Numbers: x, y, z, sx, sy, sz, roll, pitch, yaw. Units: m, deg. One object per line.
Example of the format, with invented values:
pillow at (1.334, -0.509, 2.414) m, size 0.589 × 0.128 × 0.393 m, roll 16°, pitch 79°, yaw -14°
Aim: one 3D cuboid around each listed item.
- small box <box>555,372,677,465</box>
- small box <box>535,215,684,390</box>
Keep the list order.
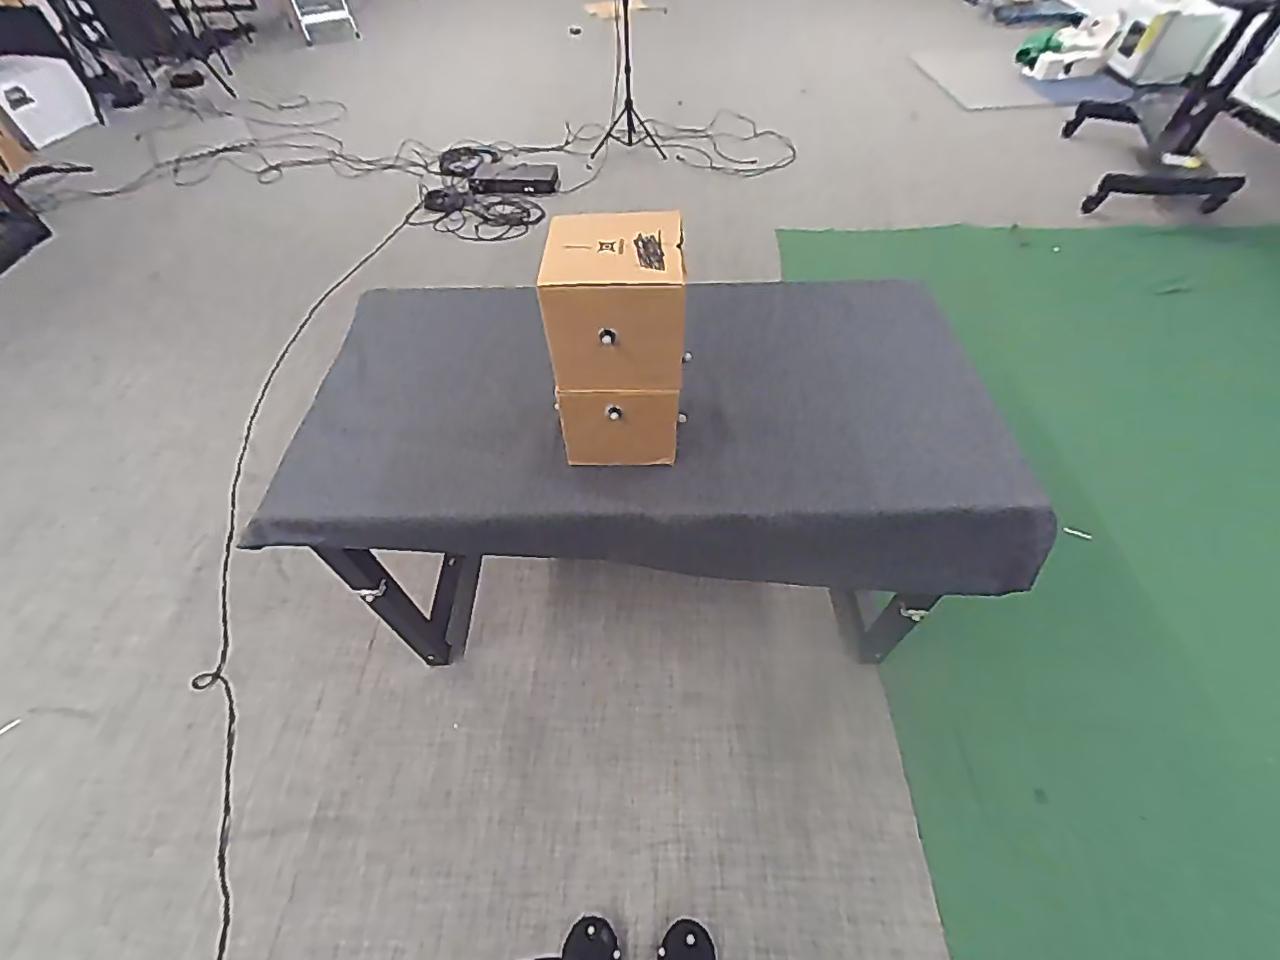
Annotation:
small box at (-0.032, -0.137, 0.868) m, size 0.179 × 0.176 × 0.168 m, roll 1°, pitch 54°, yaw 0°
small box at (-0.031, -0.237, 0.738) m, size 0.179 × 0.176 × 0.168 m, roll 0°, pitch 54°, yaw 3°
